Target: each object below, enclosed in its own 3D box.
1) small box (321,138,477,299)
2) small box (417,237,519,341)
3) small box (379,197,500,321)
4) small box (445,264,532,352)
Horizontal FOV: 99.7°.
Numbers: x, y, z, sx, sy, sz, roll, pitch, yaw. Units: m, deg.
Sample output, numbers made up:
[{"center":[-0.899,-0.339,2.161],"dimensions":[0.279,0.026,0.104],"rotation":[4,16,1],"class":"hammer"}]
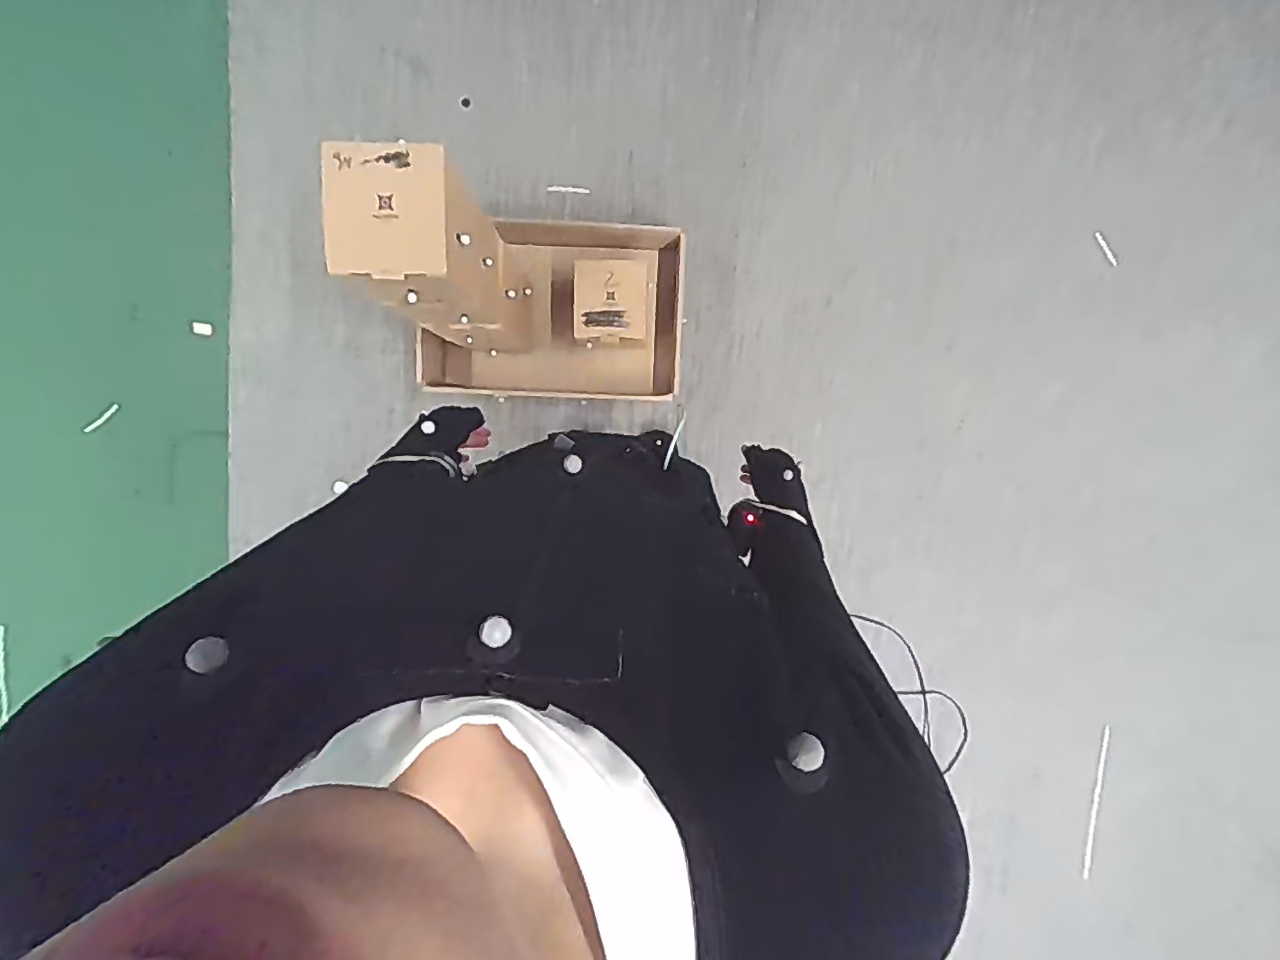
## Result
[{"center":[-0.346,-0.375,0.807],"dimensions":[0.168,0.176,0.179],"rotation":[1,97,-3],"class":"small box"},{"center":[-0.353,-0.398,1.134],"dimensions":[0.168,0.176,0.179],"rotation":[3,96,-2],"class":"small box"},{"center":[-0.351,-0.388,0.970],"dimensions":[0.168,0.176,0.179],"rotation":[1,96,-2],"class":"small box"},{"center":[-0.357,-0.412,1.296],"dimensions":[0.168,0.176,0.179],"rotation":[4,96,-1],"class":"small box"}]
